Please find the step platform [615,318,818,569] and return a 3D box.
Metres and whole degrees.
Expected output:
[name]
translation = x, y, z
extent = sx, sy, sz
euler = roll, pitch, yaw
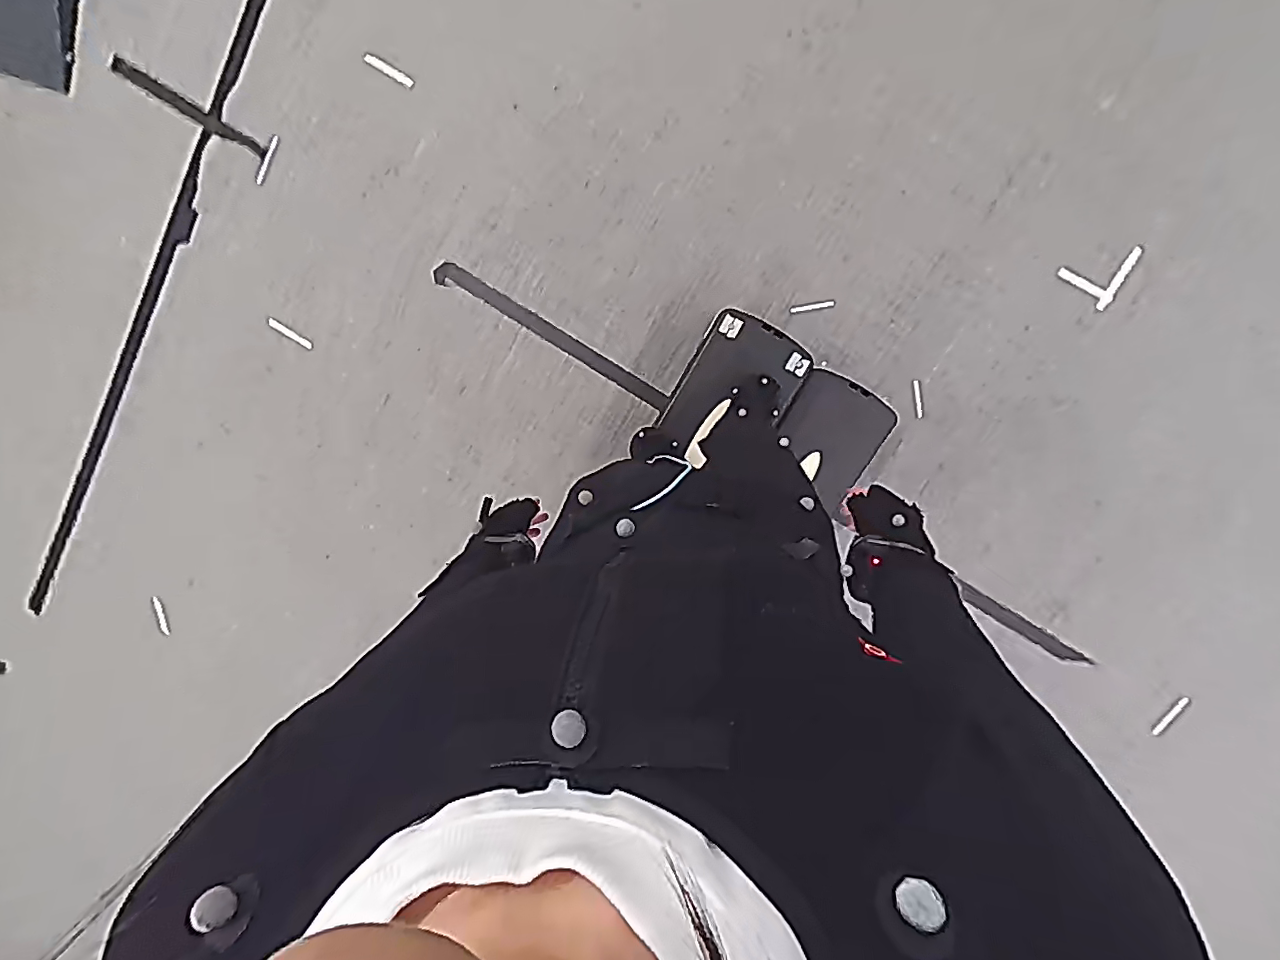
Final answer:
[step platform]
translation = 0.200, -0.096, 1.508
extent = 0.286, 0.204, 0.684
euler = 29, 99, -1
